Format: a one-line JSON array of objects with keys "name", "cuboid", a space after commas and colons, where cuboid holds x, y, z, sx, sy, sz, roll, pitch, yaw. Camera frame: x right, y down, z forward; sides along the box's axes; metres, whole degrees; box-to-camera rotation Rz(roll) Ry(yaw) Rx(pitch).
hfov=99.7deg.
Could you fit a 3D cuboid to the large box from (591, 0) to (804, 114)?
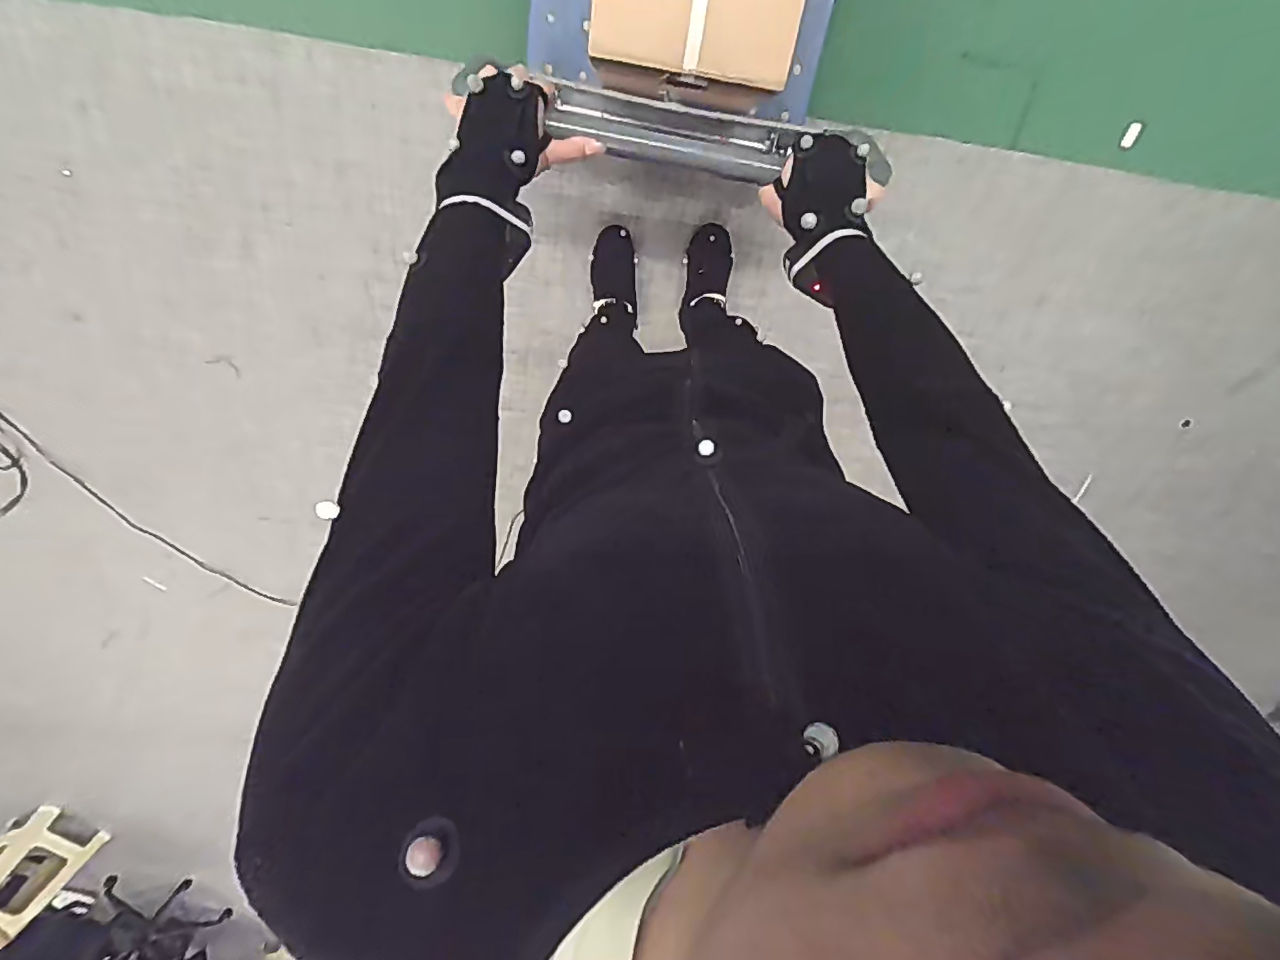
[{"name": "large box", "cuboid": [0.105, -0.872, 0.882, 0.320, 0.320, 0.408, 8, 118, -4]}]
